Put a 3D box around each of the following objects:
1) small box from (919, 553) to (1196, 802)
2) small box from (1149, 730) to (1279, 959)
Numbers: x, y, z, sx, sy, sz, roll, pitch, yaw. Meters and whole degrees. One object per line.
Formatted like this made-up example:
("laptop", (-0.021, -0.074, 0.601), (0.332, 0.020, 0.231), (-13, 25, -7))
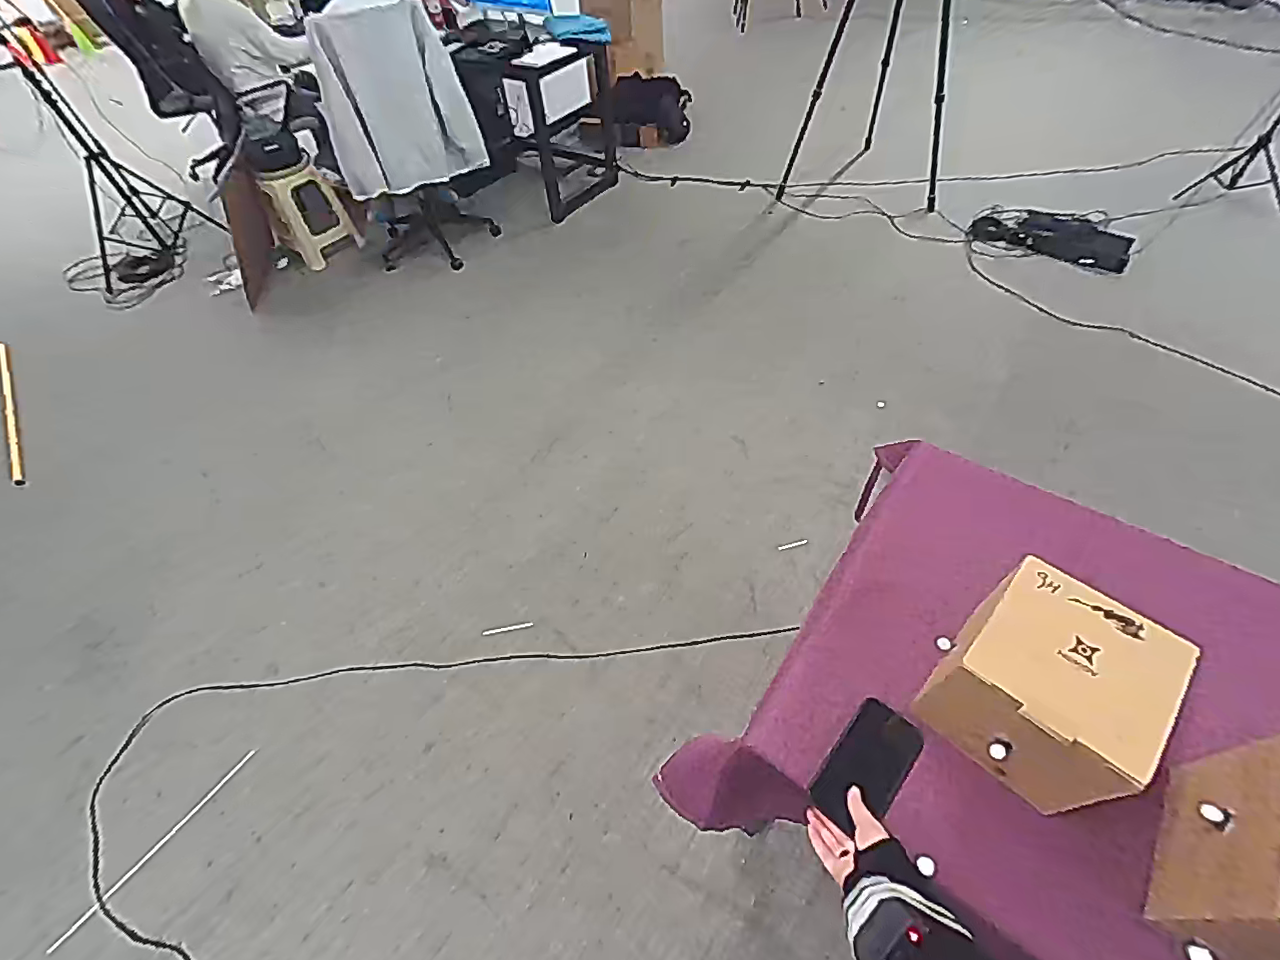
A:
("small box", (0.443, 0.223, 0.605), (0.168, 0.176, 0.179), (36, 63, 29))
("small box", (0.606, 0.363, 0.477), (0.168, 0.176, 0.179), (29, 59, 25))
